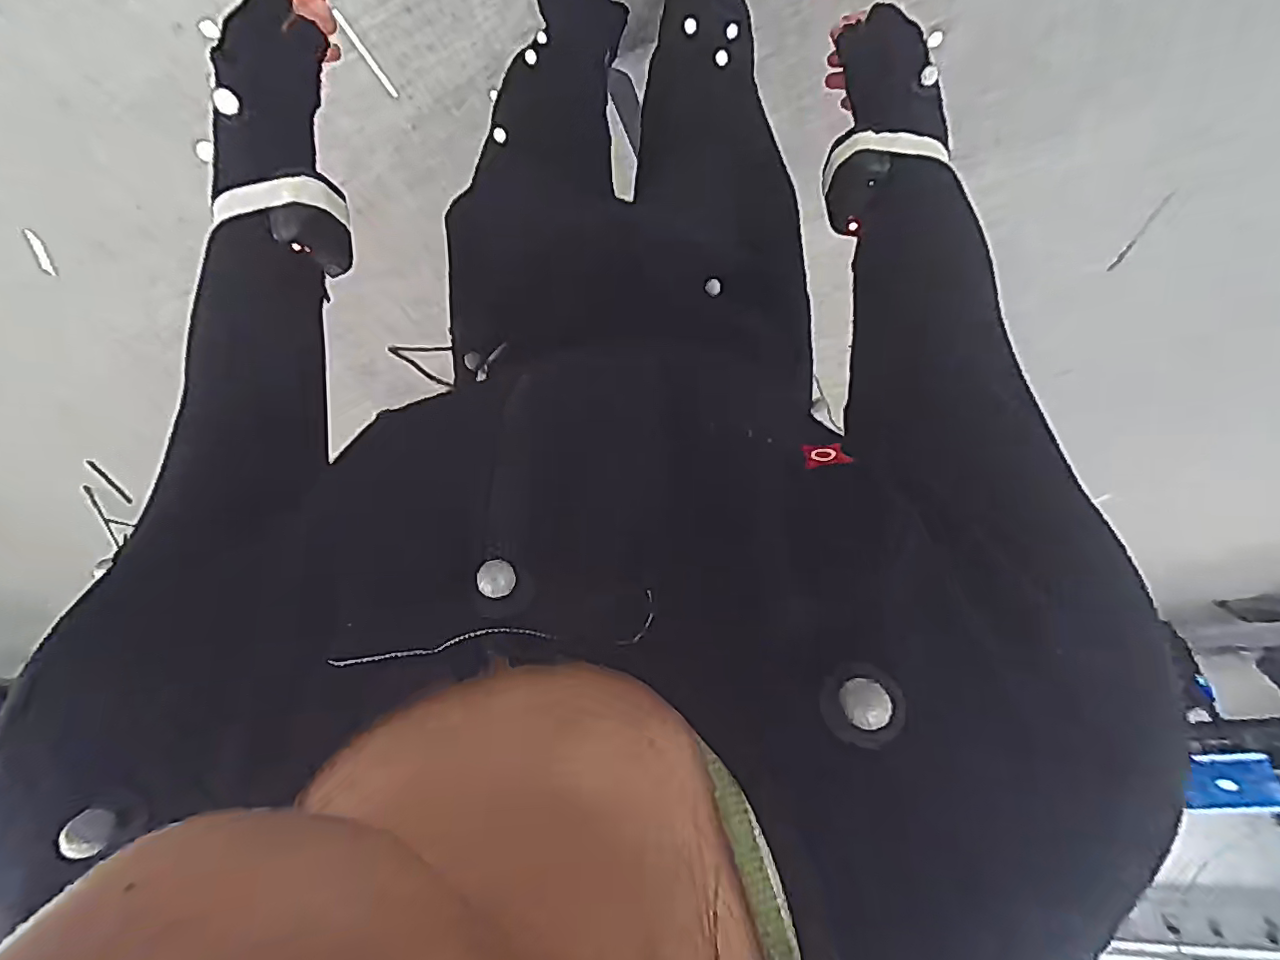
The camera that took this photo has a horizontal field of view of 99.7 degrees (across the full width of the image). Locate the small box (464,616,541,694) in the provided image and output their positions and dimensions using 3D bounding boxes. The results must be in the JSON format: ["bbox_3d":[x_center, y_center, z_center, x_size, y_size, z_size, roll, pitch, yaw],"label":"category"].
[{"bbox_3d":[-0.413,0.533,1.629,0.176,0.179,0.168,-15,146,9],"label":"small box"}]
